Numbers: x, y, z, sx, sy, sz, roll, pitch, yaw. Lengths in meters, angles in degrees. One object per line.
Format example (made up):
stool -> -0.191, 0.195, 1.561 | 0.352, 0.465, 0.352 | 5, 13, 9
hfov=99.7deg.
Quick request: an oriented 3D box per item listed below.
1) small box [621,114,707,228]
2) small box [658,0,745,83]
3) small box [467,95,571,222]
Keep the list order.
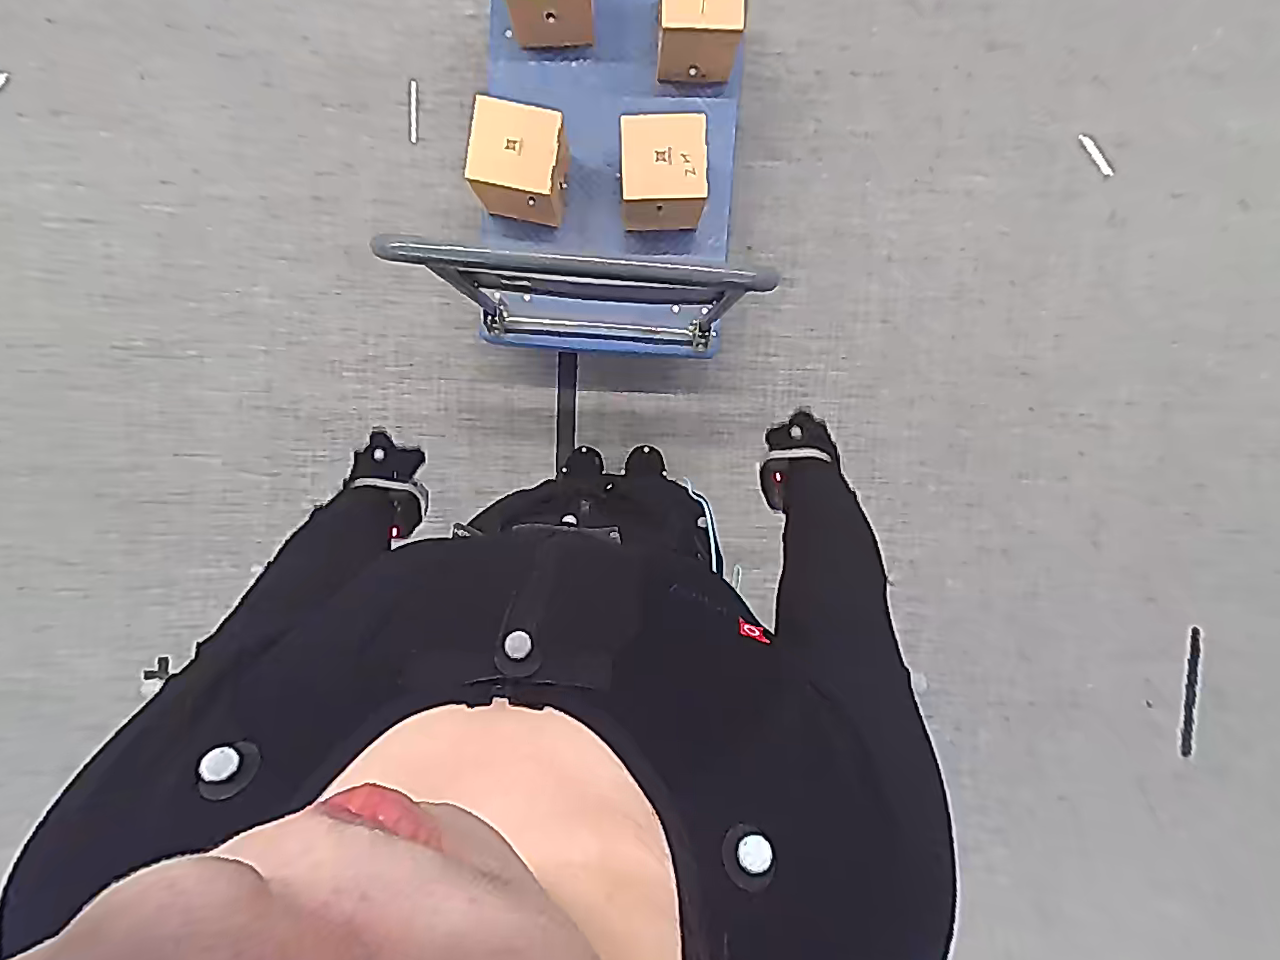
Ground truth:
small box -> 0.049, -0.664, 1.178 | 0.179, 0.176, 0.168 | -2, 95, -1
small box -> 0.126, -0.994, 1.149 | 0.168, 0.176, 0.179 | 1, 96, -1
small box -> -0.254, -0.683, 1.169 | 0.179, 0.176, 0.168 | 10, 95, -3
